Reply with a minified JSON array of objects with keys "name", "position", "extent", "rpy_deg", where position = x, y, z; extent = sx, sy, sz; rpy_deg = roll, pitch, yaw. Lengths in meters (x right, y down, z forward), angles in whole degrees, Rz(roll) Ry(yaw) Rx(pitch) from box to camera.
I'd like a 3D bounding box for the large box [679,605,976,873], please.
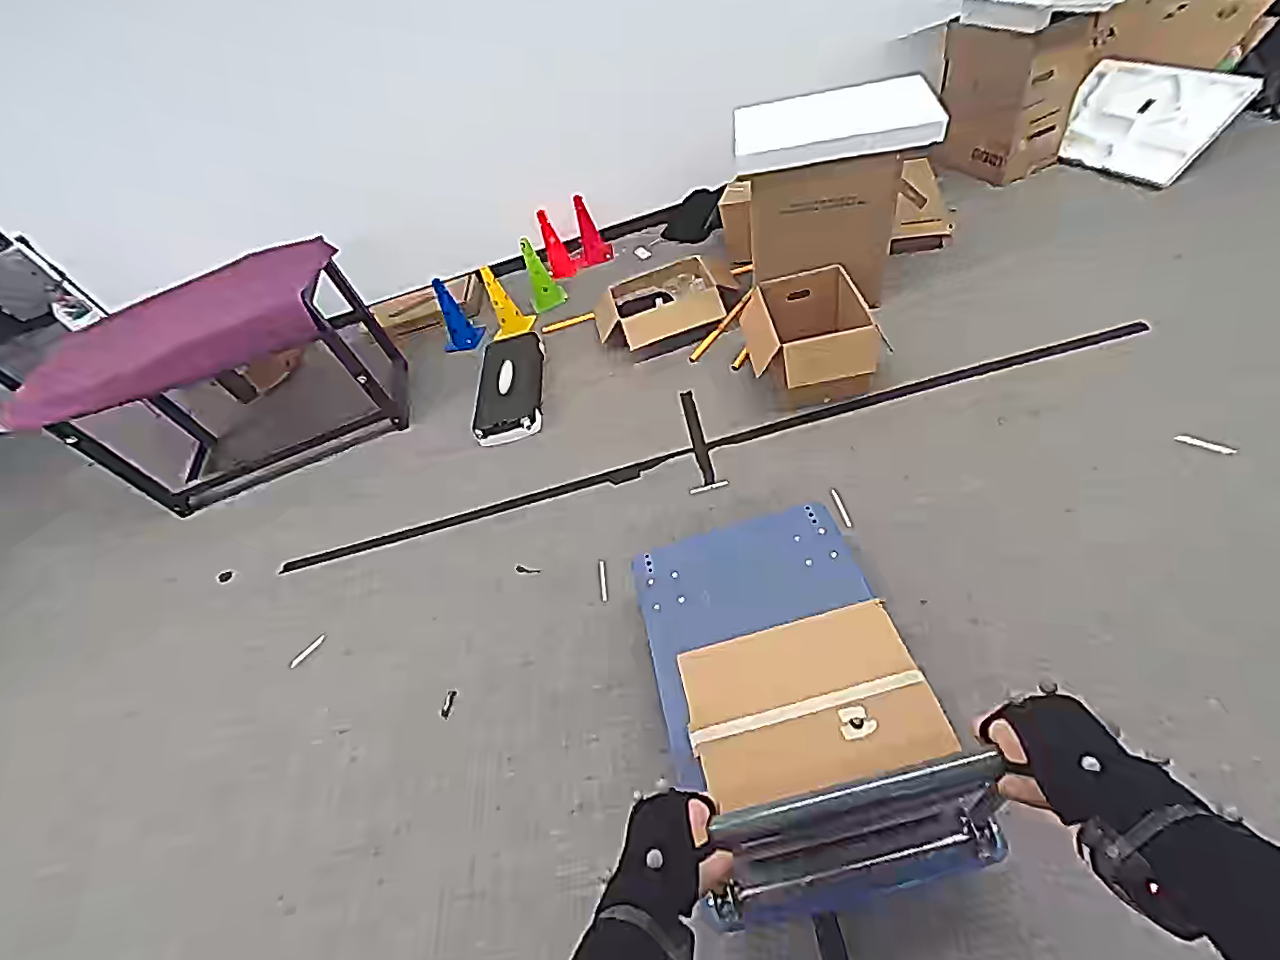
[{"name":"large box","position":[0.321,0.494,1.023],"extent":[0.408,0.320,0.320],"rpy_deg":[-17,48,3]}]
